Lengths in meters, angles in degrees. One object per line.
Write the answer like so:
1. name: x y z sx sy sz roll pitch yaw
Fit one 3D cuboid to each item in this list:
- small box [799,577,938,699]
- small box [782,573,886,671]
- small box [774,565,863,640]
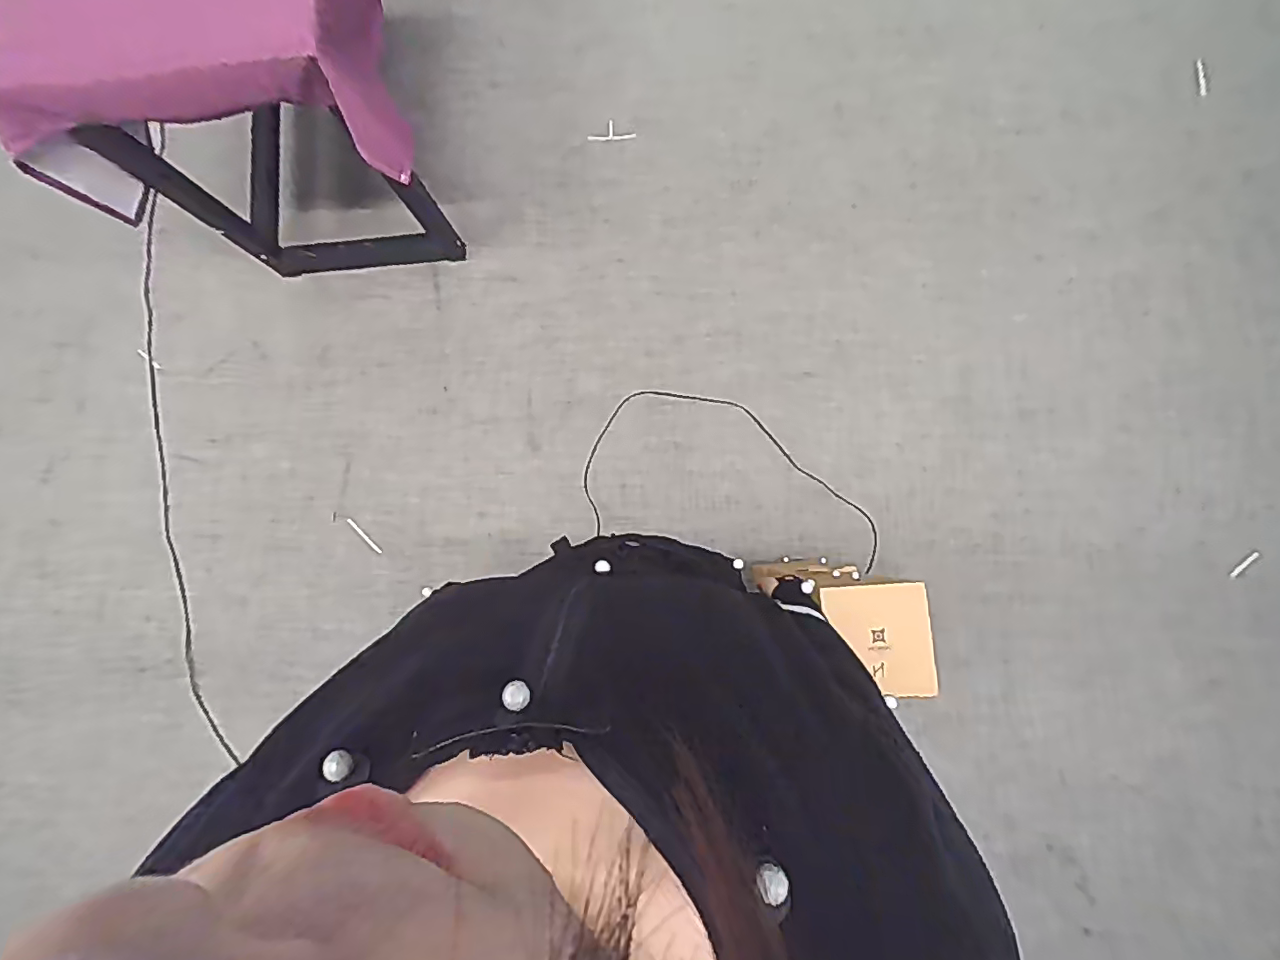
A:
1. small box: 0.374 0.257 0.916 0.168 0.176 0.179 -3 84 3
2. small box: 0.388 0.277 1.079 0.179 0.176 0.168 -4 84 2
3. small box: 0.410 0.287 1.241 0.168 0.176 0.179 -4 85 3
